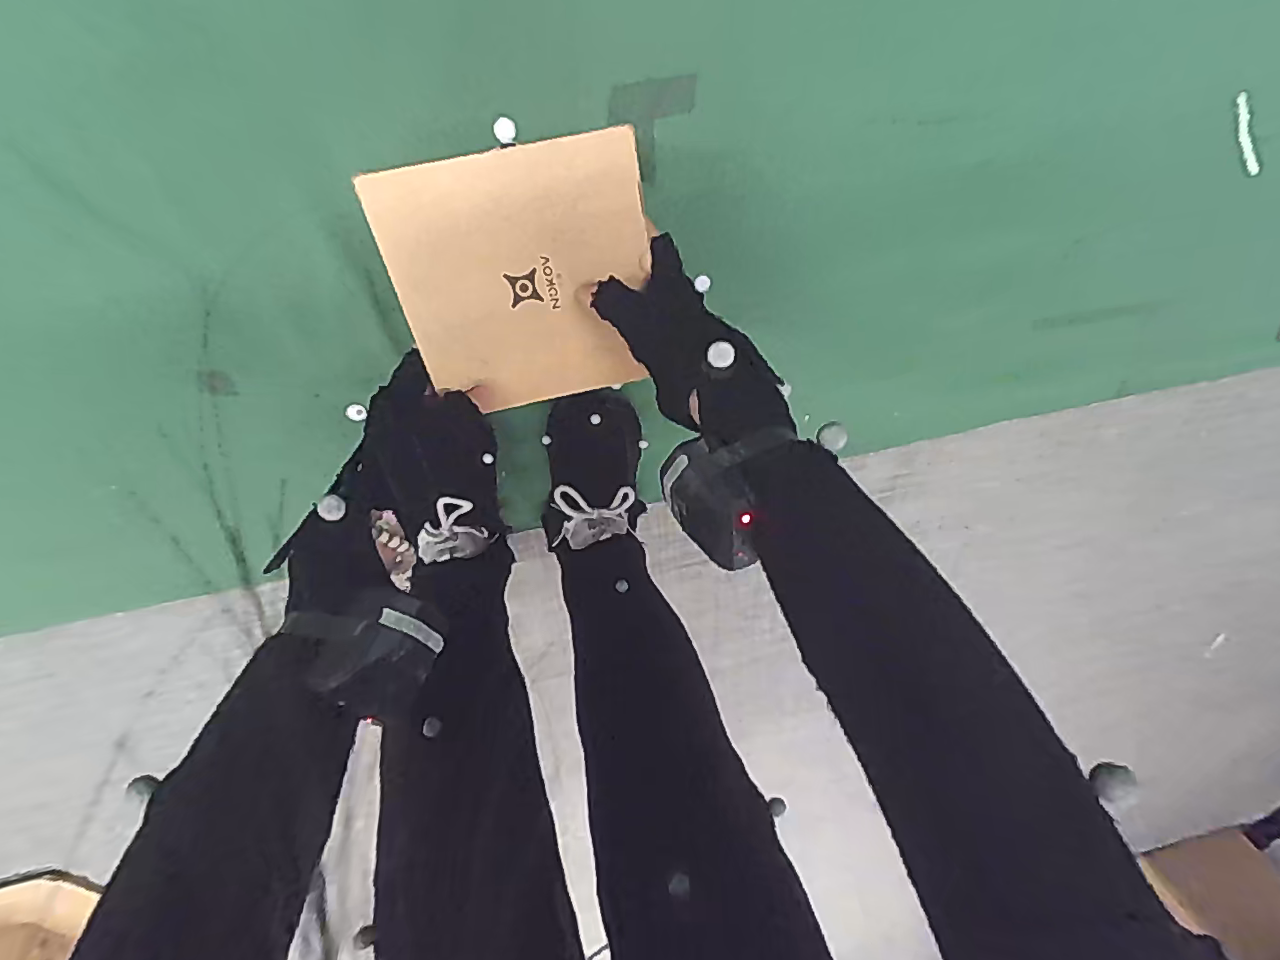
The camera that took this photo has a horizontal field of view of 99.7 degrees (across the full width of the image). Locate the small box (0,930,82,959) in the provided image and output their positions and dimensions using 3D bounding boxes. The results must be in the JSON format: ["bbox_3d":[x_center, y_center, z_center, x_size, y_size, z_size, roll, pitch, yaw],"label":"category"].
[{"bbox_3d":[-1.251,1.001,1.028,0.179,0.176,0.168,-15,128,-4],"label":"small box"}]

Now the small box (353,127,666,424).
[{"bbox_3d":[-0.091,-0.168,0.438,0.179,0.176,0.168,-15,121,-4],"label":"small box"}]
